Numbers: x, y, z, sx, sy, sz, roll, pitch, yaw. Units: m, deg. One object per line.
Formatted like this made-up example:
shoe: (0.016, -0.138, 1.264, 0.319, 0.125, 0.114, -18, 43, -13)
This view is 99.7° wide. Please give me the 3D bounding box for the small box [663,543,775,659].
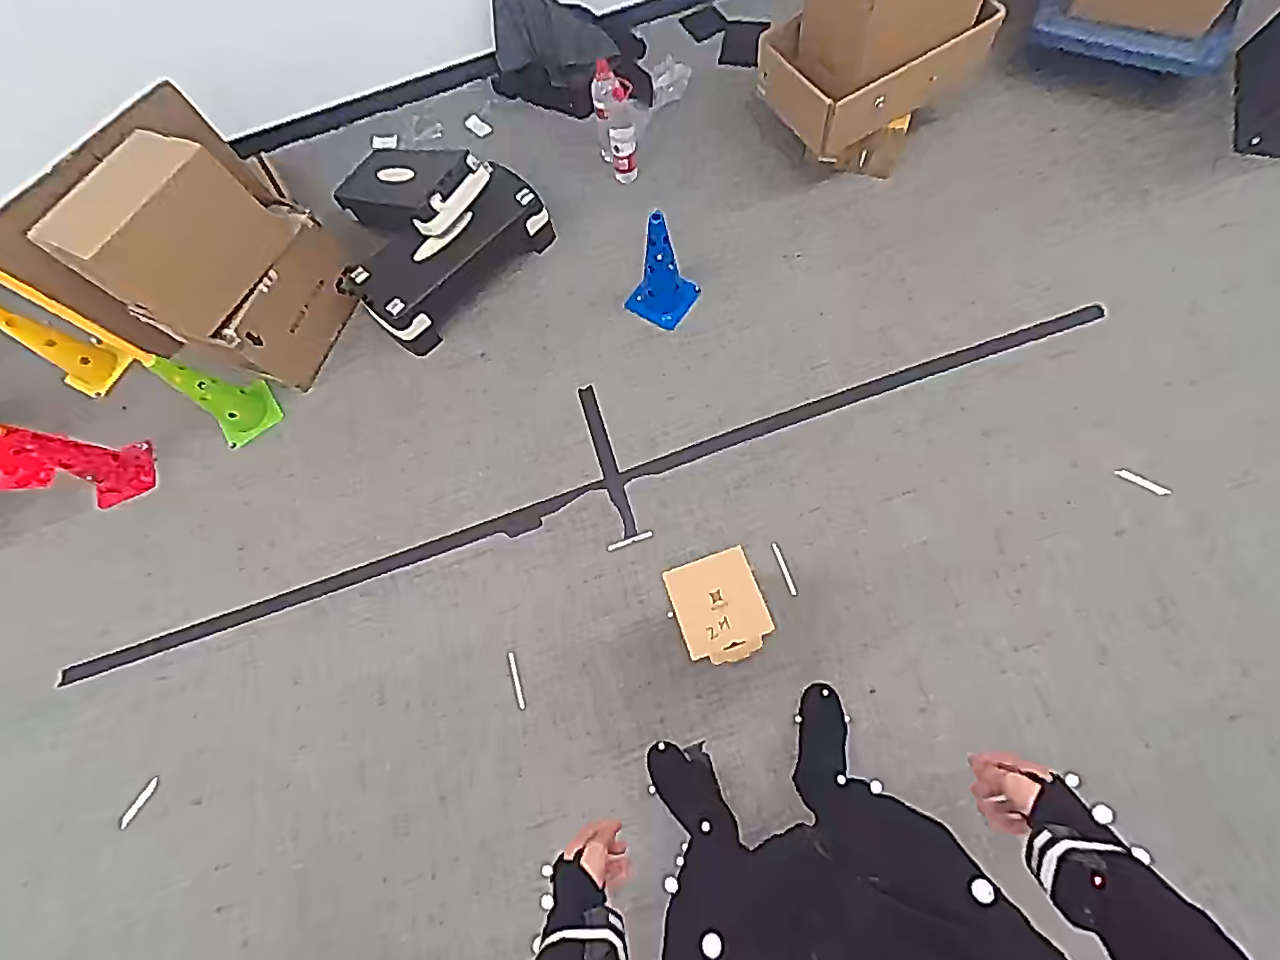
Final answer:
small box: (0.152, 0.251, 1.093, 0.168, 0.176, 0.179, -20, 71, -2)
